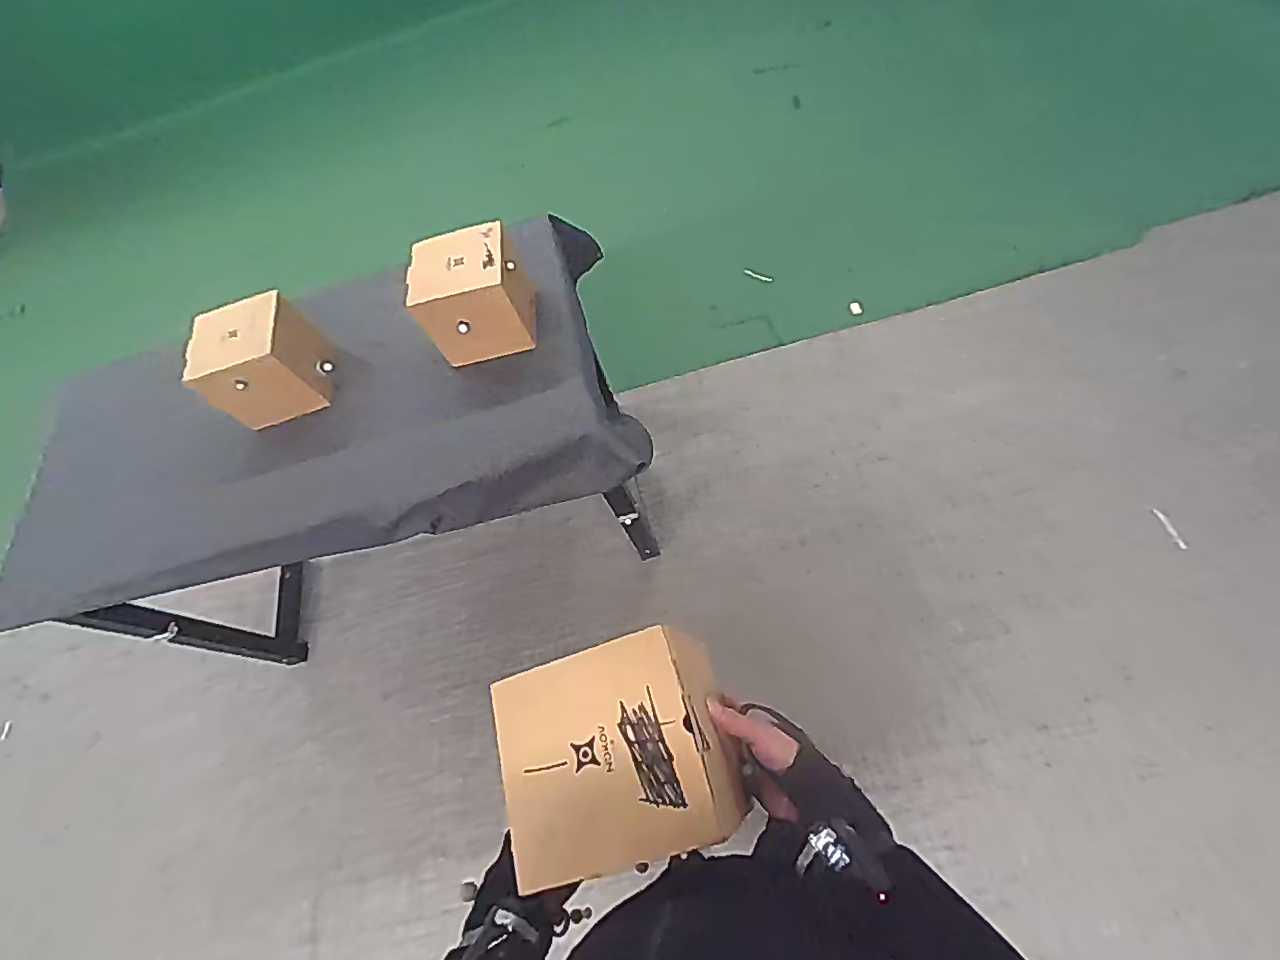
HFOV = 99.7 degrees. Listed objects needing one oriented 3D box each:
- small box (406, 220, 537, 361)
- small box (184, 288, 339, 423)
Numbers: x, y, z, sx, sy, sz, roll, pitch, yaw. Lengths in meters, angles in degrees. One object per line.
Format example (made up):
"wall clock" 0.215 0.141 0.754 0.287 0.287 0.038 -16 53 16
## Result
"small box" -0.309 -0.348 1.020 0.179 0.176 0.168 -11 63 7
"small box" -0.729 -0.236 1.059 0.179 0.176 0.168 -16 63 2
